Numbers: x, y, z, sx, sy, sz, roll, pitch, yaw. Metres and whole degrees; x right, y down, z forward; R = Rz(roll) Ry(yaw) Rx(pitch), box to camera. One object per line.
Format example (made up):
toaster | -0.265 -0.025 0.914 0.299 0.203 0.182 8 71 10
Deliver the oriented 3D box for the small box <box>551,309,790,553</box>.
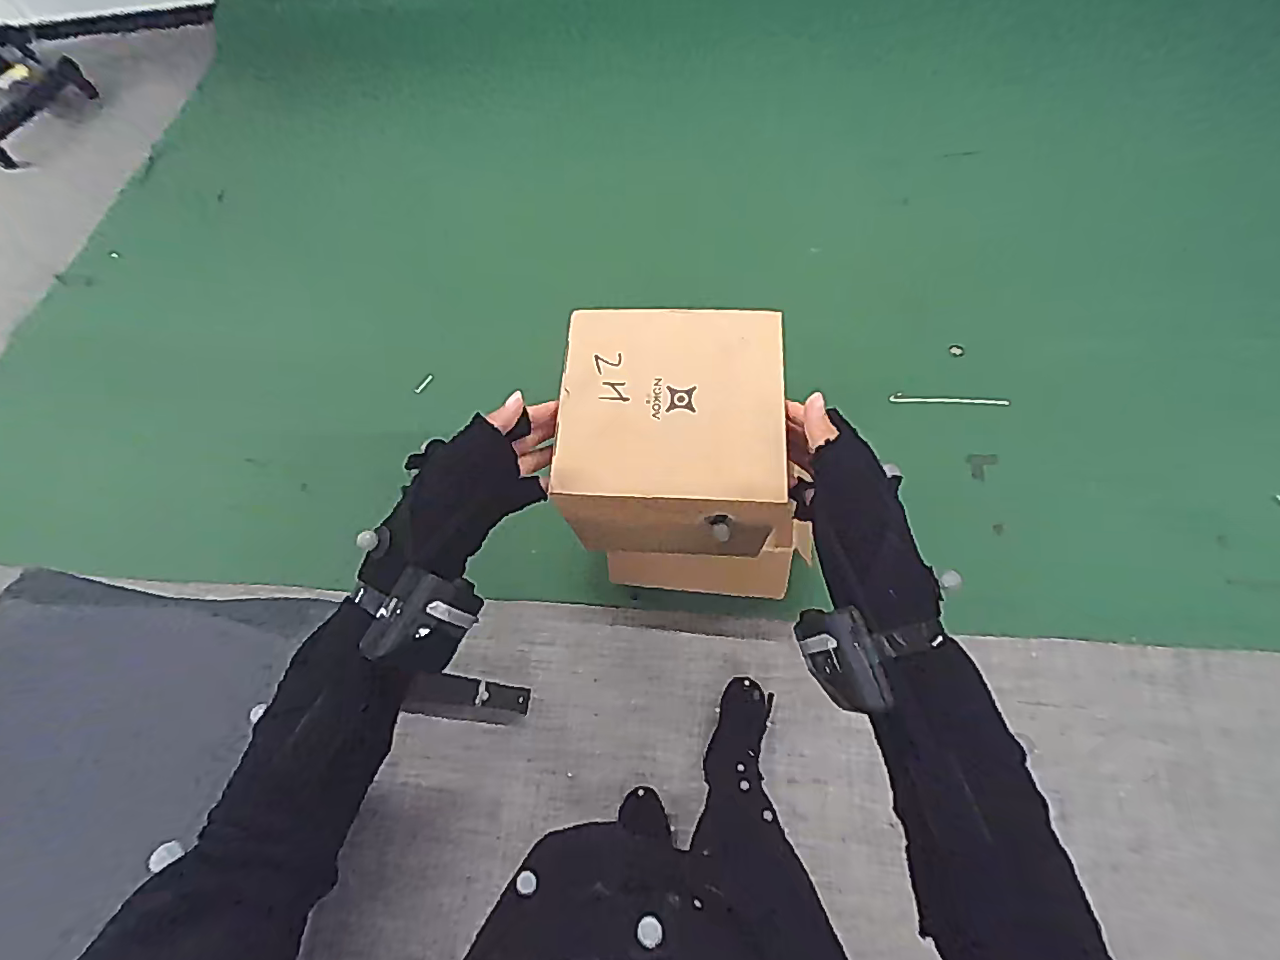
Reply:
small box | 0.032 -0.034 0.494 0.179 0.176 0.168 2 68 6
